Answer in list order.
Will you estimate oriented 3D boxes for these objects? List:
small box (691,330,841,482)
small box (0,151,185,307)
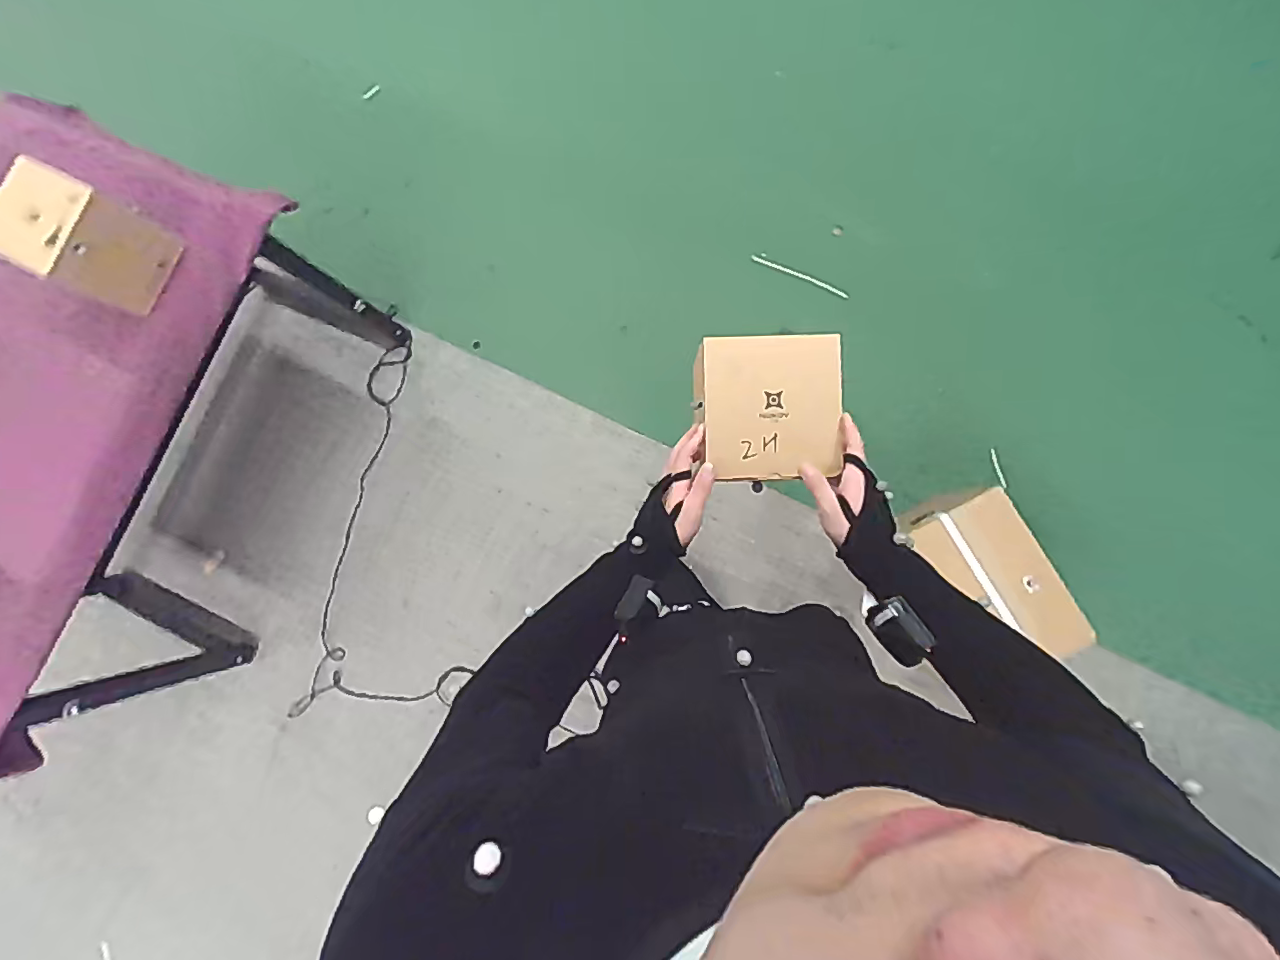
[{"bbox_3d":[0.157,-0.089,0.721,0.168,0.176,0.179,-2,89,2],"label":"small box"},{"bbox_3d":[-0.991,-0.437,0.970,0.179,0.176,0.168,27,88,9],"label":"small box"}]
